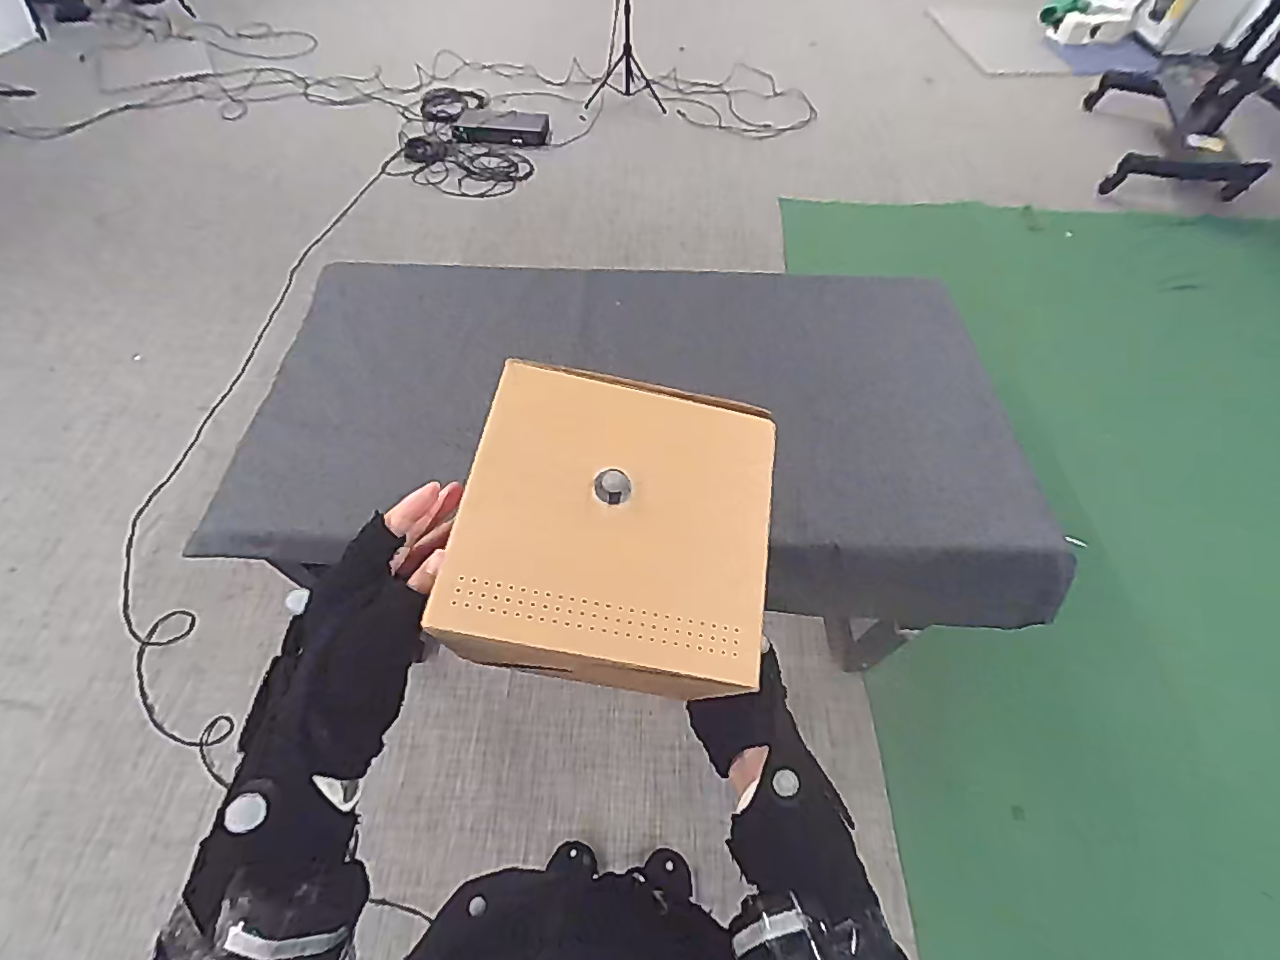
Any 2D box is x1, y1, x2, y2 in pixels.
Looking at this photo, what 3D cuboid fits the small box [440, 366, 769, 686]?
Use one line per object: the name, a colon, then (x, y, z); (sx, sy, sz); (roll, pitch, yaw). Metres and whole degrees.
small box: (-0.022, 0.048, 0.394); (0.179, 0.168, 0.176); (12, 65, -5)
